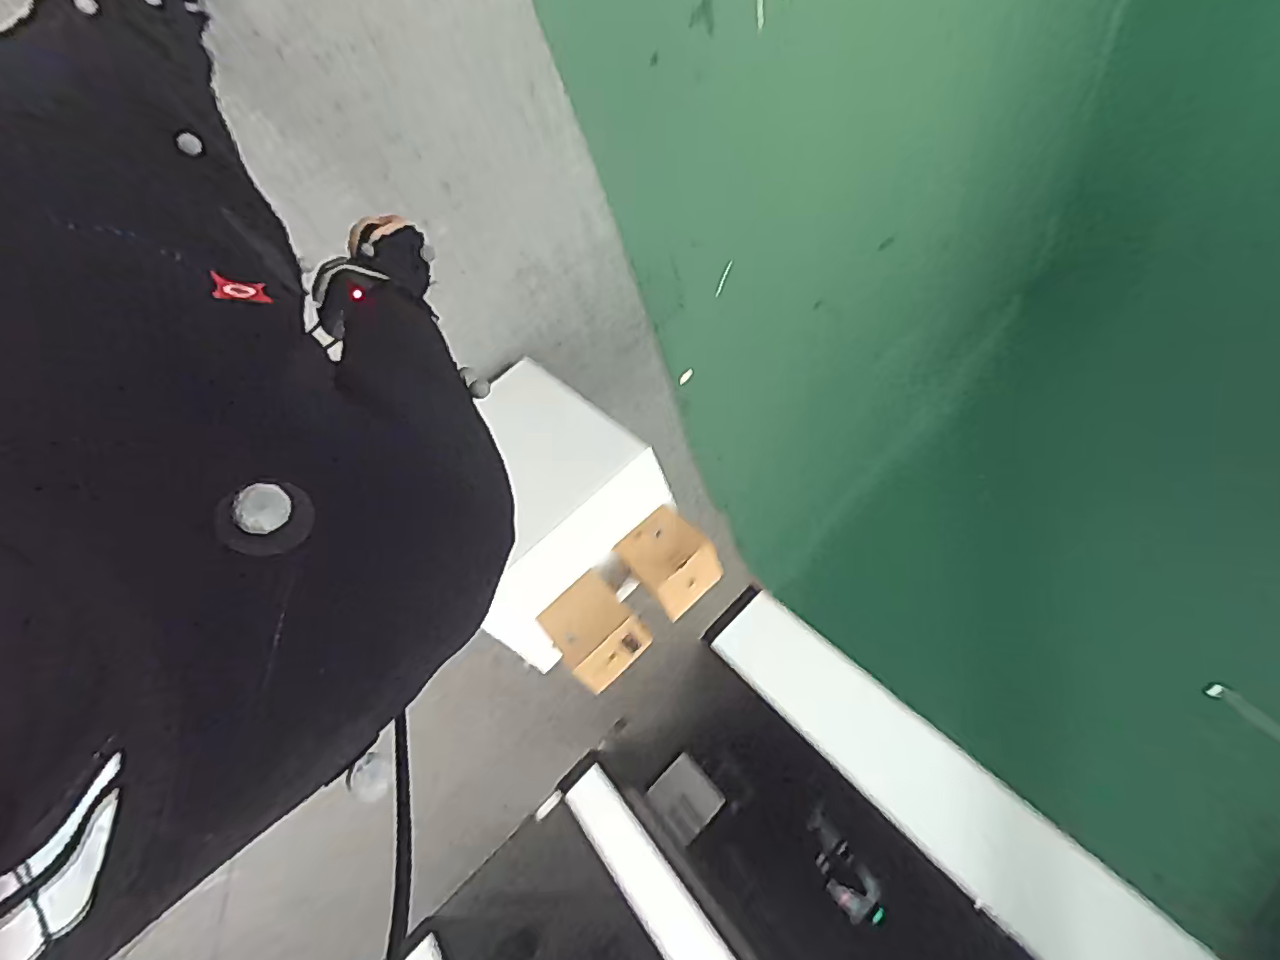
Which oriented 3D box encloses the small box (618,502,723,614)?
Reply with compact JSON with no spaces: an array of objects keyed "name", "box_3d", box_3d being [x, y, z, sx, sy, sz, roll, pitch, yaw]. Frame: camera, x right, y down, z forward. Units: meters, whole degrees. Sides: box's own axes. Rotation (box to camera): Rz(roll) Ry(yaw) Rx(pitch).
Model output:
[{"name":"small box","box_3d":[0.075,0.185,1.311,0.168,0.176,0.179,-41,140,-12]}]
